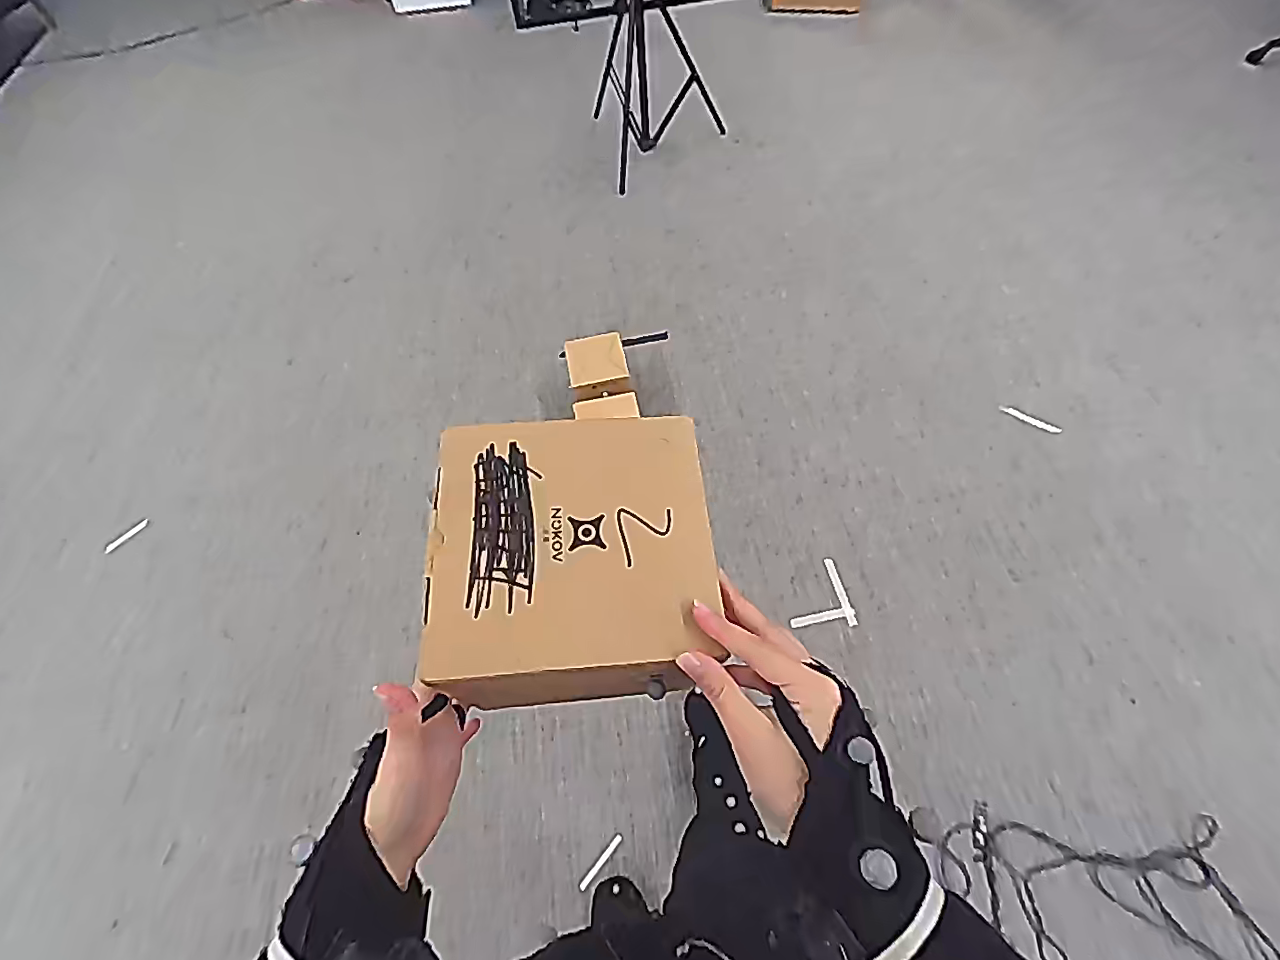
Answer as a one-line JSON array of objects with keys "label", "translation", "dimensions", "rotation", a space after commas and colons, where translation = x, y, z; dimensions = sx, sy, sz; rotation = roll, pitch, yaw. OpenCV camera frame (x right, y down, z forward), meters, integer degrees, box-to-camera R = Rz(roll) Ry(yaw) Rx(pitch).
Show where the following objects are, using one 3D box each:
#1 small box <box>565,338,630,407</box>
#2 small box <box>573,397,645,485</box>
[{"label": "small box", "translation": [-0.125, -0.298, 1.617], "dimensions": [0.168, 0.176, 0.179], "rotation": [-12, 60, -2]}, {"label": "small box", "translation": [-0.082, -0.105, 1.511], "dimensions": [0.179, 0.176, 0.168], "rotation": [-11, 60, -2]}]
